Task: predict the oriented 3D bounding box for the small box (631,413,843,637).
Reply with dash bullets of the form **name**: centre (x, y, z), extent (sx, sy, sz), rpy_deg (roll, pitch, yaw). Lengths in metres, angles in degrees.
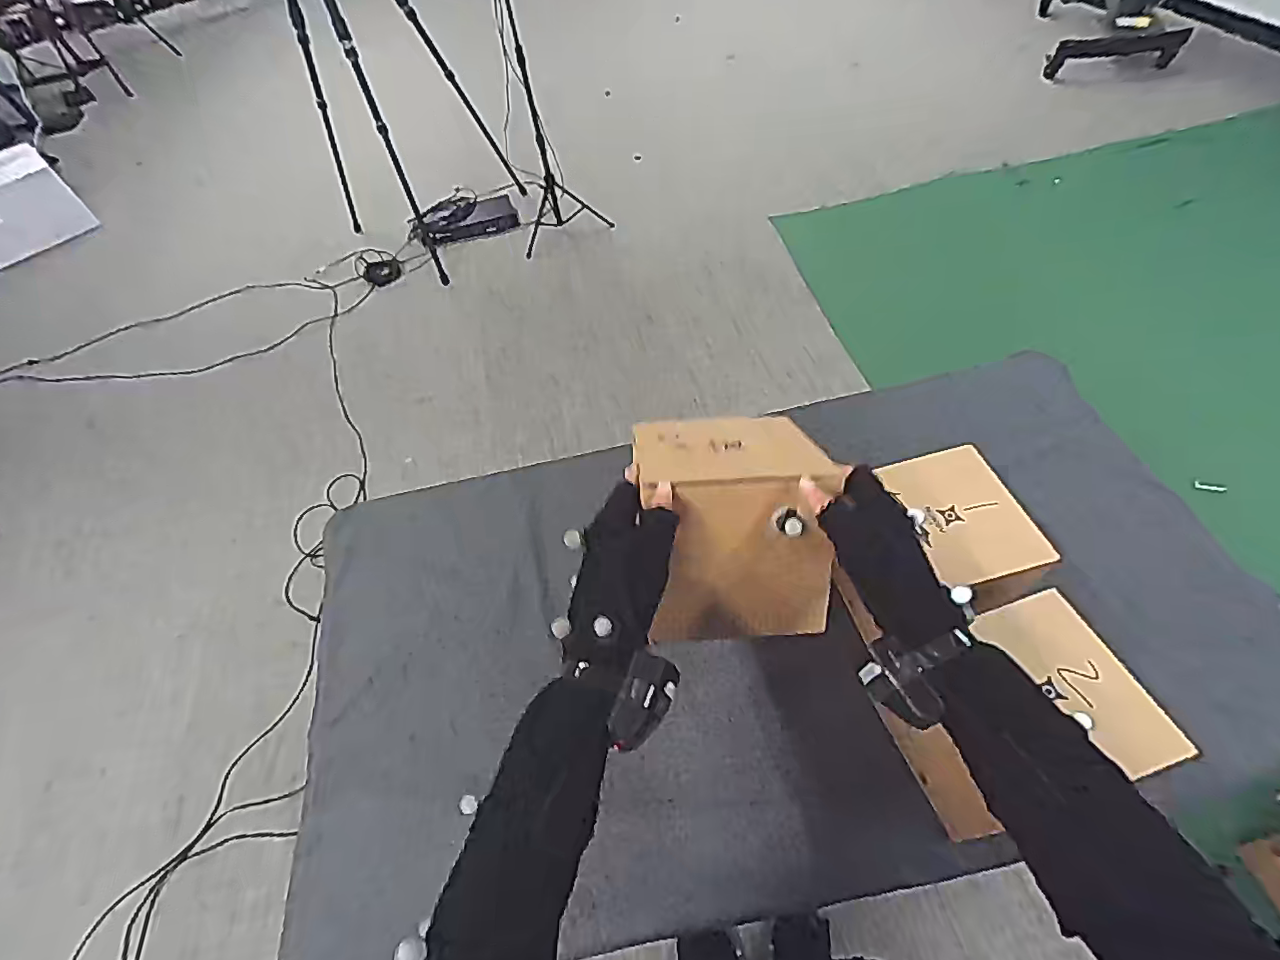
- **small box**: centre (0.081, 0.039, 0.545), extent (0.179, 0.176, 0.168), rpy_deg (-3, 24, -1)
